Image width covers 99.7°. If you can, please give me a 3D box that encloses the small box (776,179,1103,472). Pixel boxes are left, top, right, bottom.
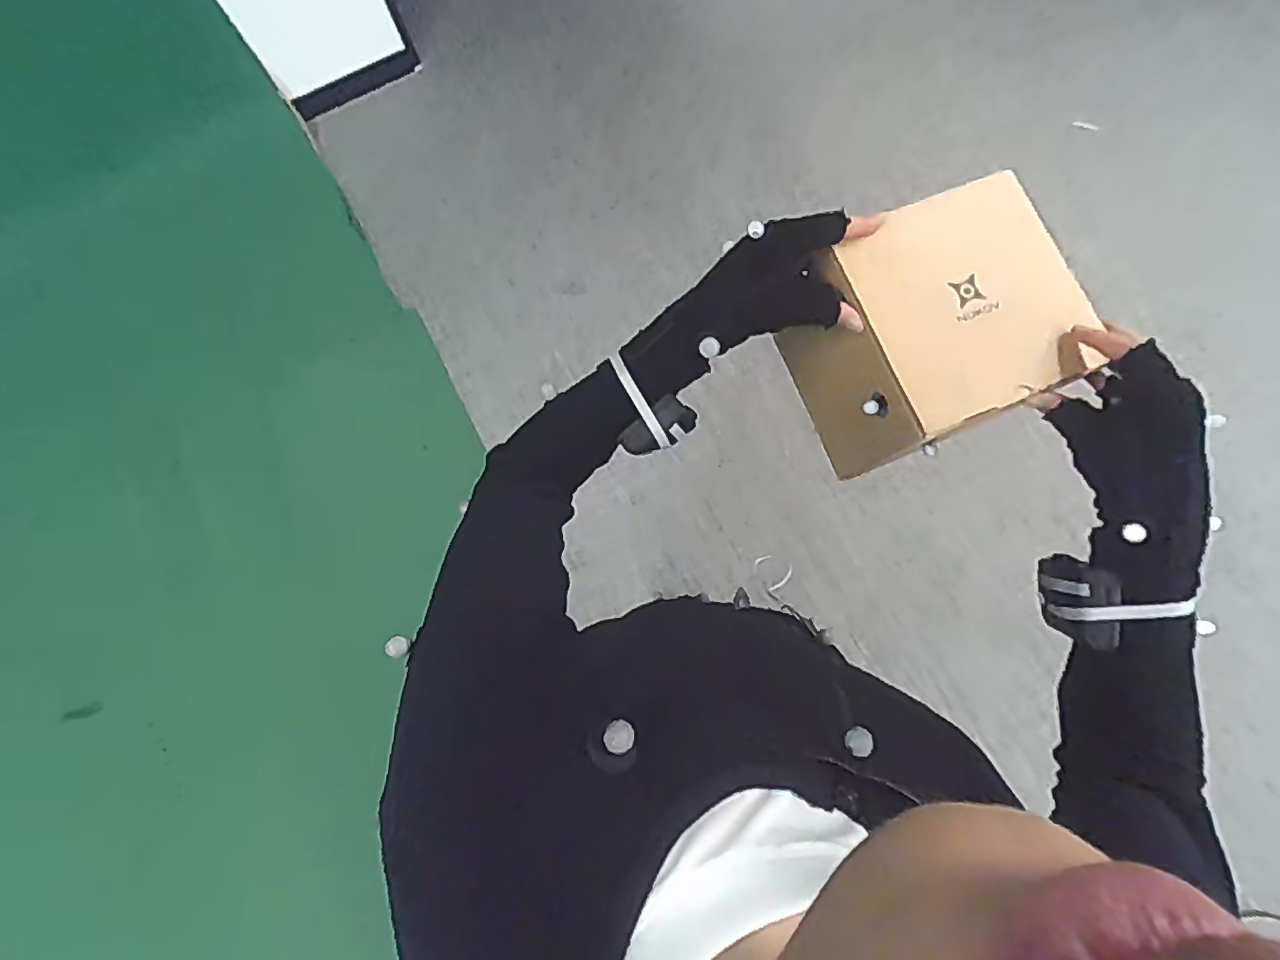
[{"bbox_3d":[0.247,-0.125,0.498,0.168,0.176,0.179,-21,81,-5],"label":"small box"}]
